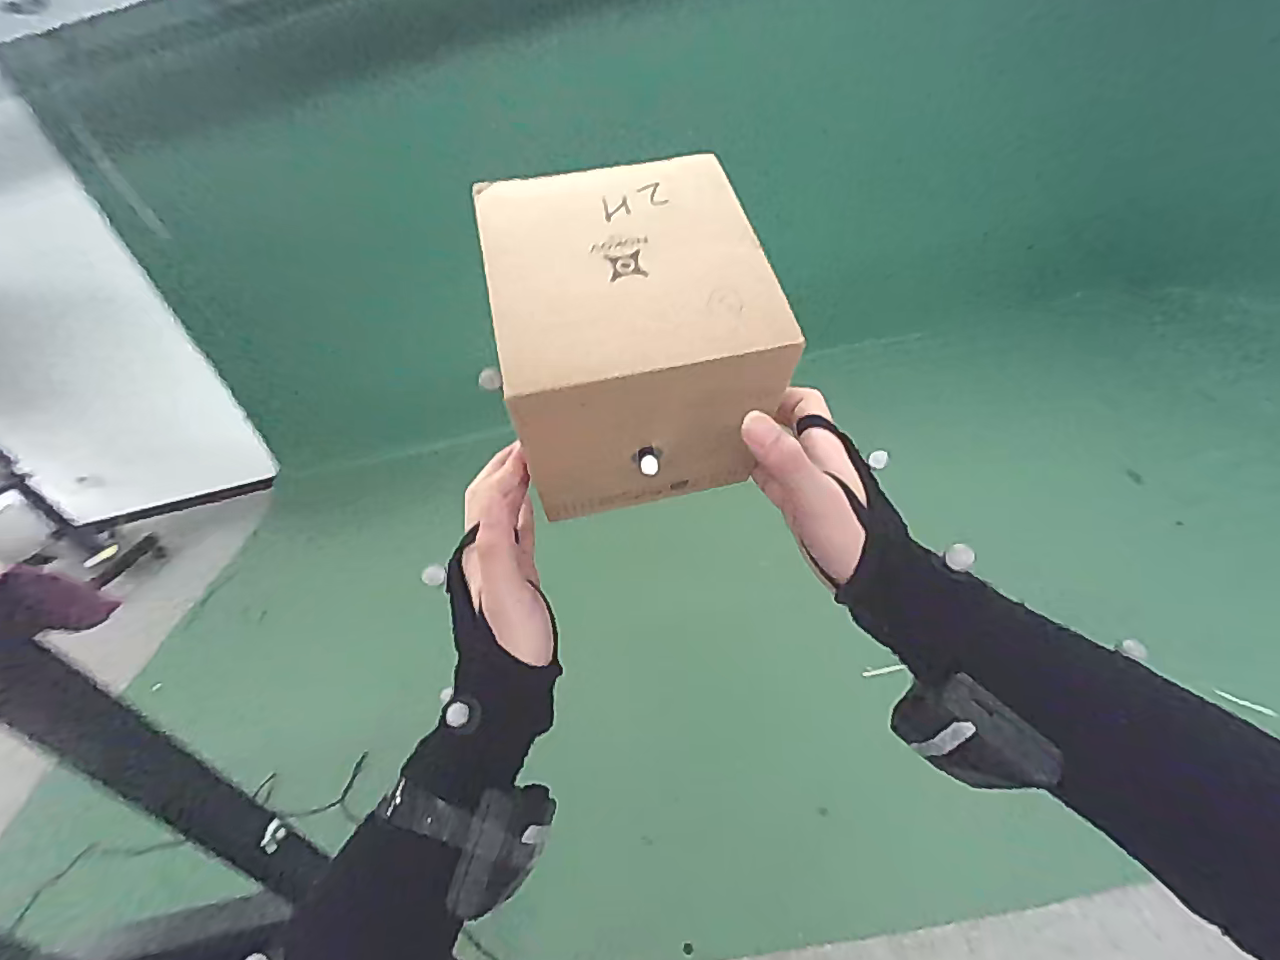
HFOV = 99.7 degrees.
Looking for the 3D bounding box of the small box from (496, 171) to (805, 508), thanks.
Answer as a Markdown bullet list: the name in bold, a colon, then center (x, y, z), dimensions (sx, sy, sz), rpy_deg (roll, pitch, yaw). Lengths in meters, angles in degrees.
- **small box**: center (-0.001, -0.091, 0.408), dimensions (0.168, 0.176, 0.179), rpy_deg (-11, 64, -6)
